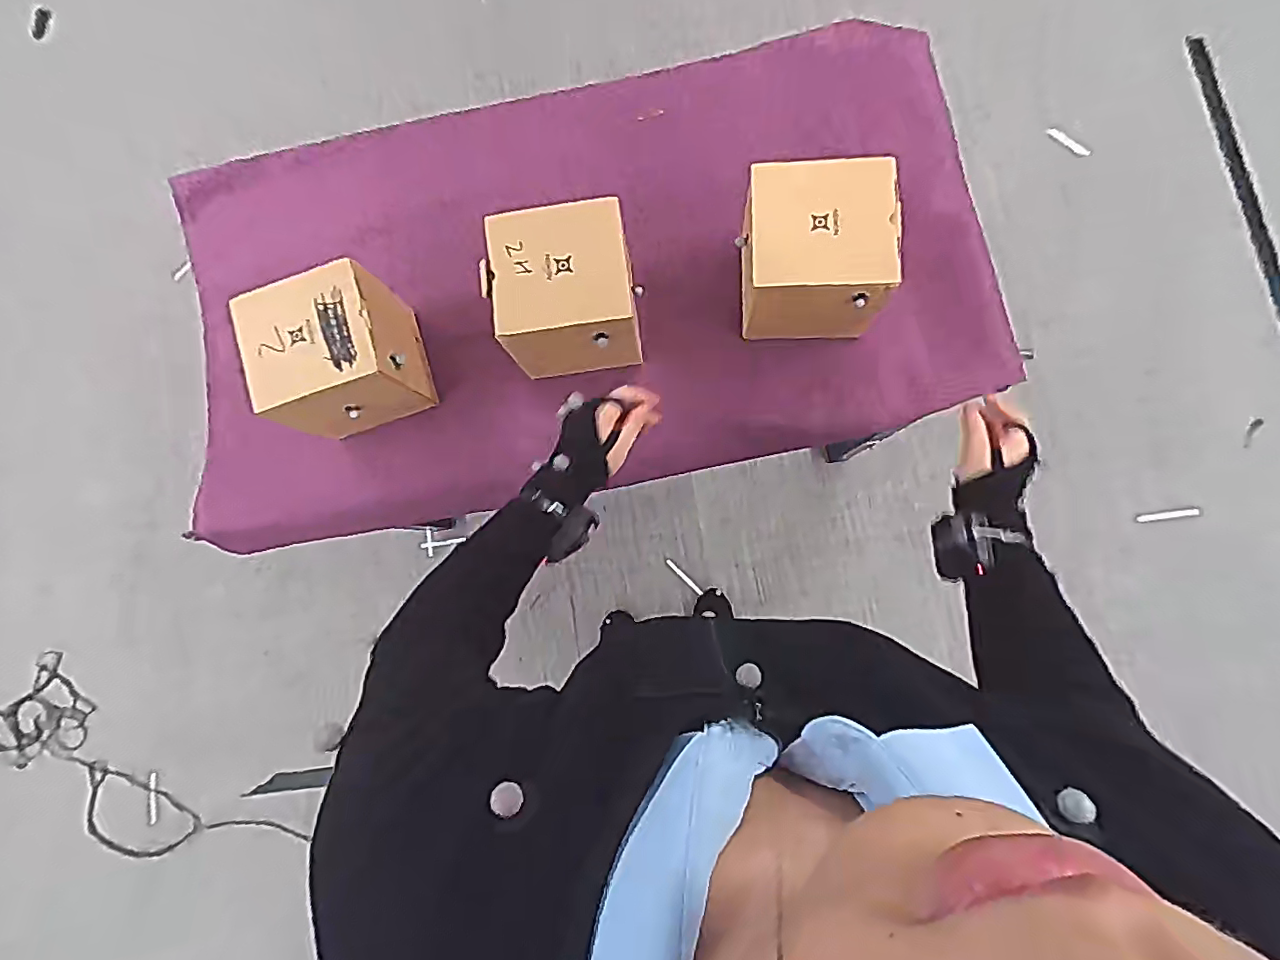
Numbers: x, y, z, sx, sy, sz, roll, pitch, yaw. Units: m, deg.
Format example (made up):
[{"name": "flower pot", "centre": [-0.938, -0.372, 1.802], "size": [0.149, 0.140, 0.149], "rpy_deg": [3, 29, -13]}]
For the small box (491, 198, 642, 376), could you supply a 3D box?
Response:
[{"name": "small box", "centre": [-0.092, -0.257, 0.756], "size": [0.179, 0.176, 0.168], "rpy_deg": [-8, 81, 4]}]

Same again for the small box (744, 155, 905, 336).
[{"name": "small box", "centre": [0.235, -0.303, 0.733], "size": [0.179, 0.176, 0.168], "rpy_deg": [0, 83, 5]}]
